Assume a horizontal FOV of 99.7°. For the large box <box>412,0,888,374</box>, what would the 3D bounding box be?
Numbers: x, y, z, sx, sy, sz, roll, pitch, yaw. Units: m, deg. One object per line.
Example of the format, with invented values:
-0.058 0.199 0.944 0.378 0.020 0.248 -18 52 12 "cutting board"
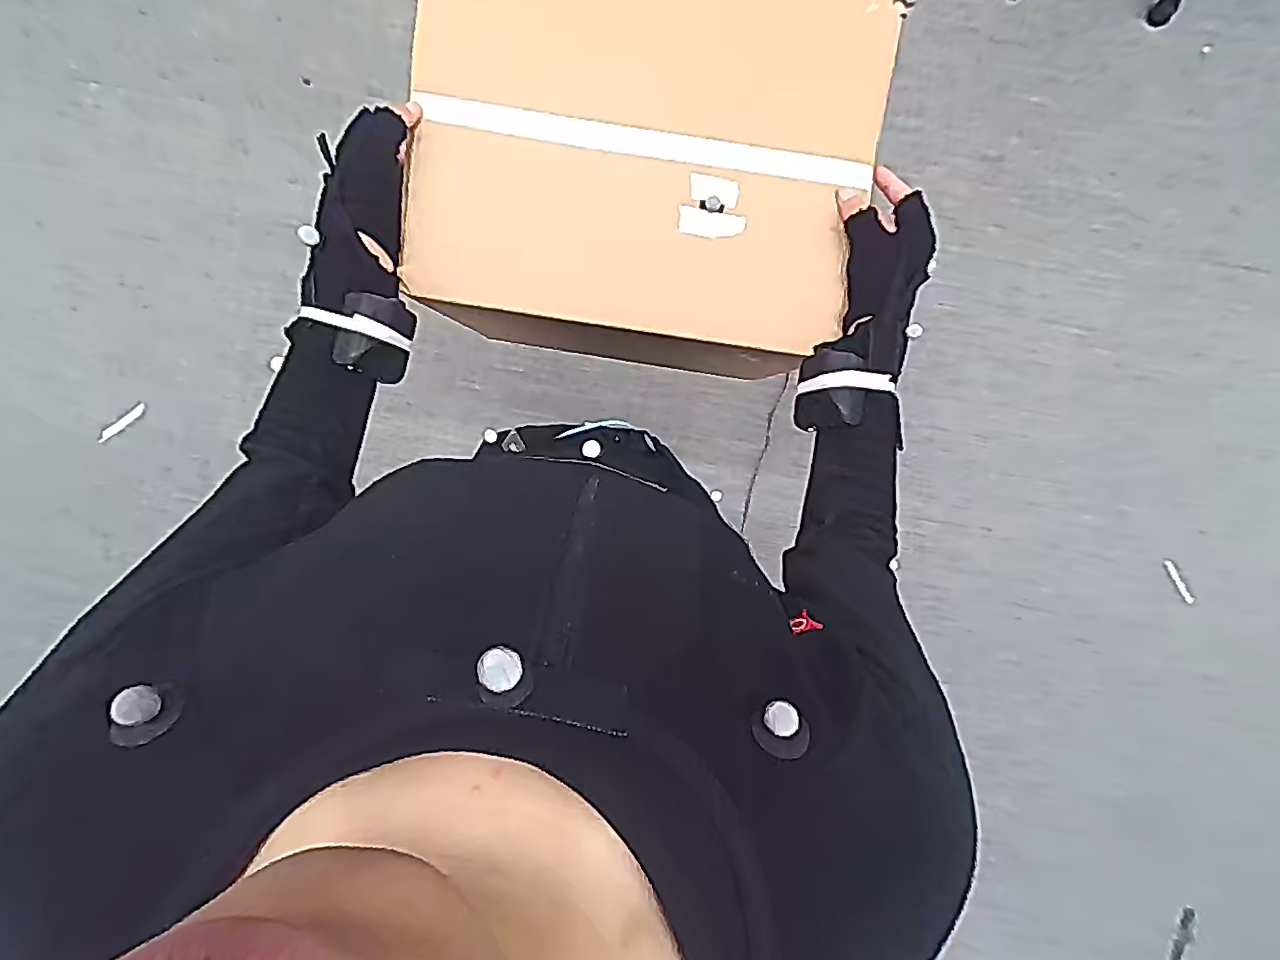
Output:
-0.001 -0.315 0.635 0.408 0.320 0.320 8 98 -3 "large box"
